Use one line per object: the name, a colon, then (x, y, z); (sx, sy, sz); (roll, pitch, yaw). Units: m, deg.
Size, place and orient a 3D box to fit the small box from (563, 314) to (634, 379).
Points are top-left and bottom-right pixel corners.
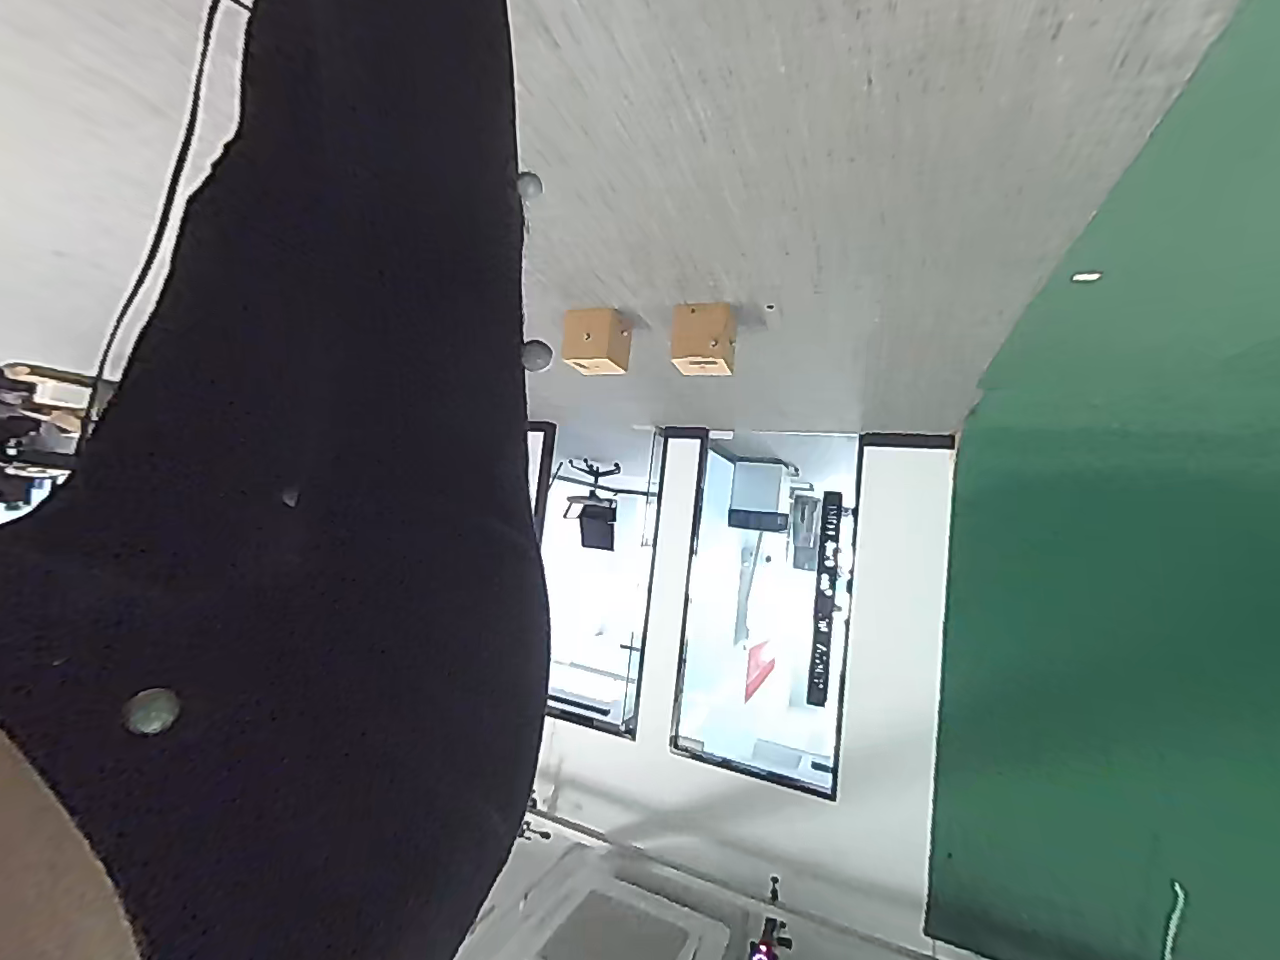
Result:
small box: (-0.134, -0.443, 1.804); (0.179, 0.176, 0.168); (4, 175, 24)
